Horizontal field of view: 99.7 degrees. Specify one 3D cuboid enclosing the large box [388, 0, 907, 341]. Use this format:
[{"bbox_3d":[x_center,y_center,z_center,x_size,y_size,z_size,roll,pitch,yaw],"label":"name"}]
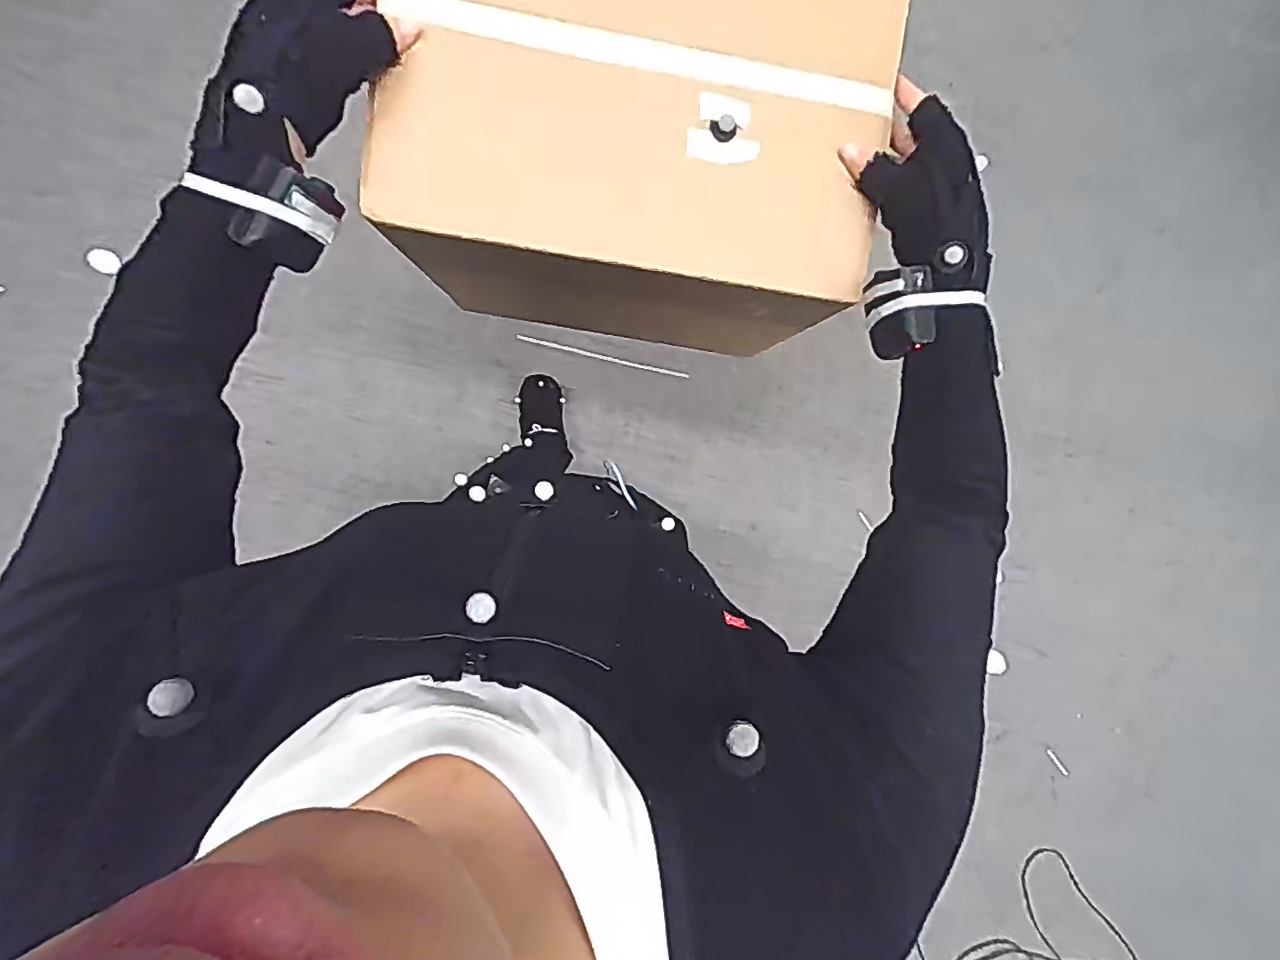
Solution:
[{"bbox_3d":[-0.002,-0.353,0.579,0.408,0.320,0.320,7,95,-7],"label":"large box"}]
